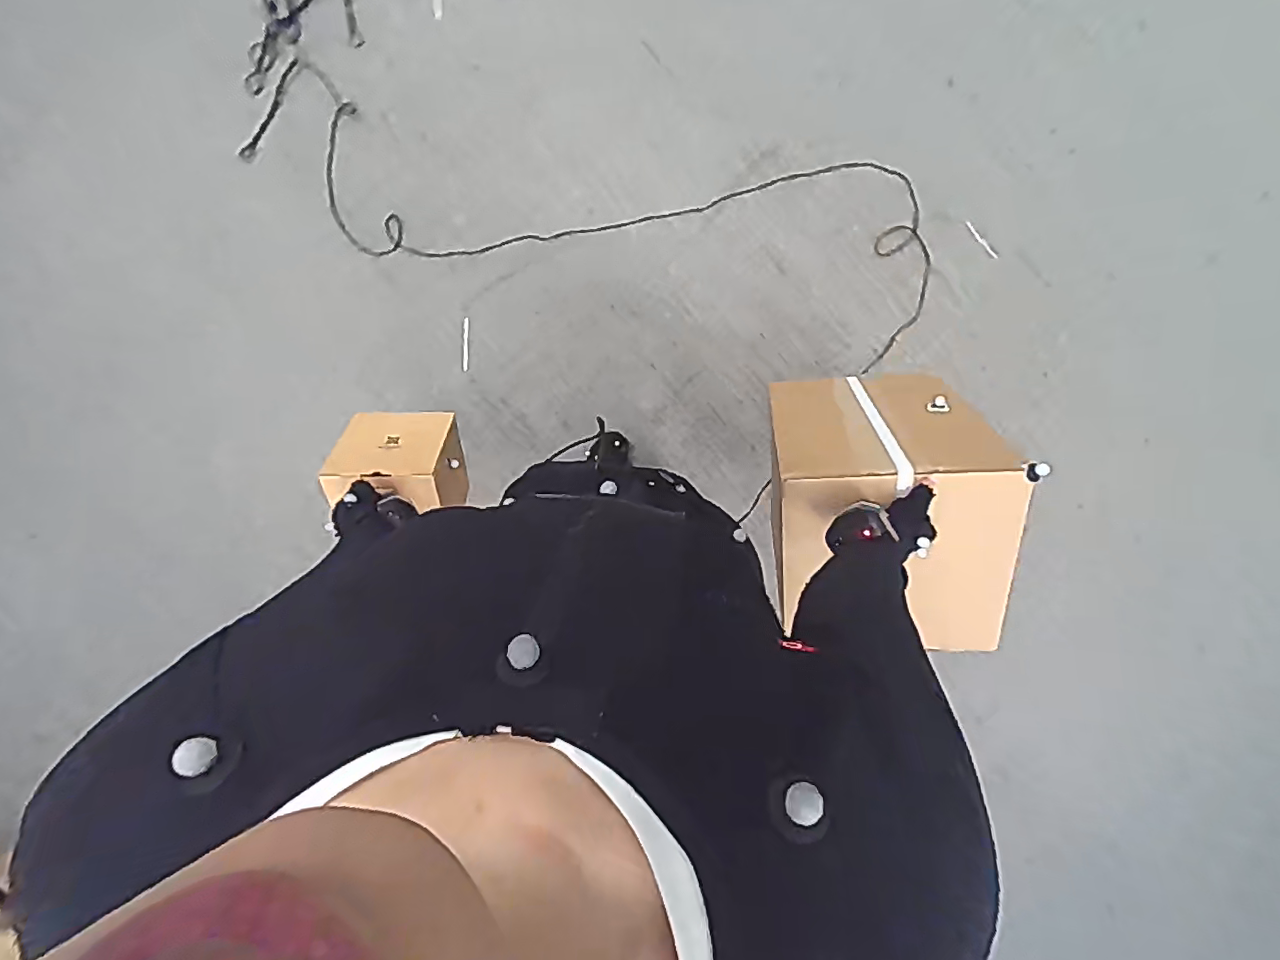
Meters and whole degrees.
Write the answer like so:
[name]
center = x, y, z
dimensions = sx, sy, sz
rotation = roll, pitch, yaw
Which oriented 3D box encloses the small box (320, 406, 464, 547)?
[small box]
center = -0.402, -0.007, 0.915
dimensions = 0.168, 0.179, 0.176
rotation = 0, 130, -5
